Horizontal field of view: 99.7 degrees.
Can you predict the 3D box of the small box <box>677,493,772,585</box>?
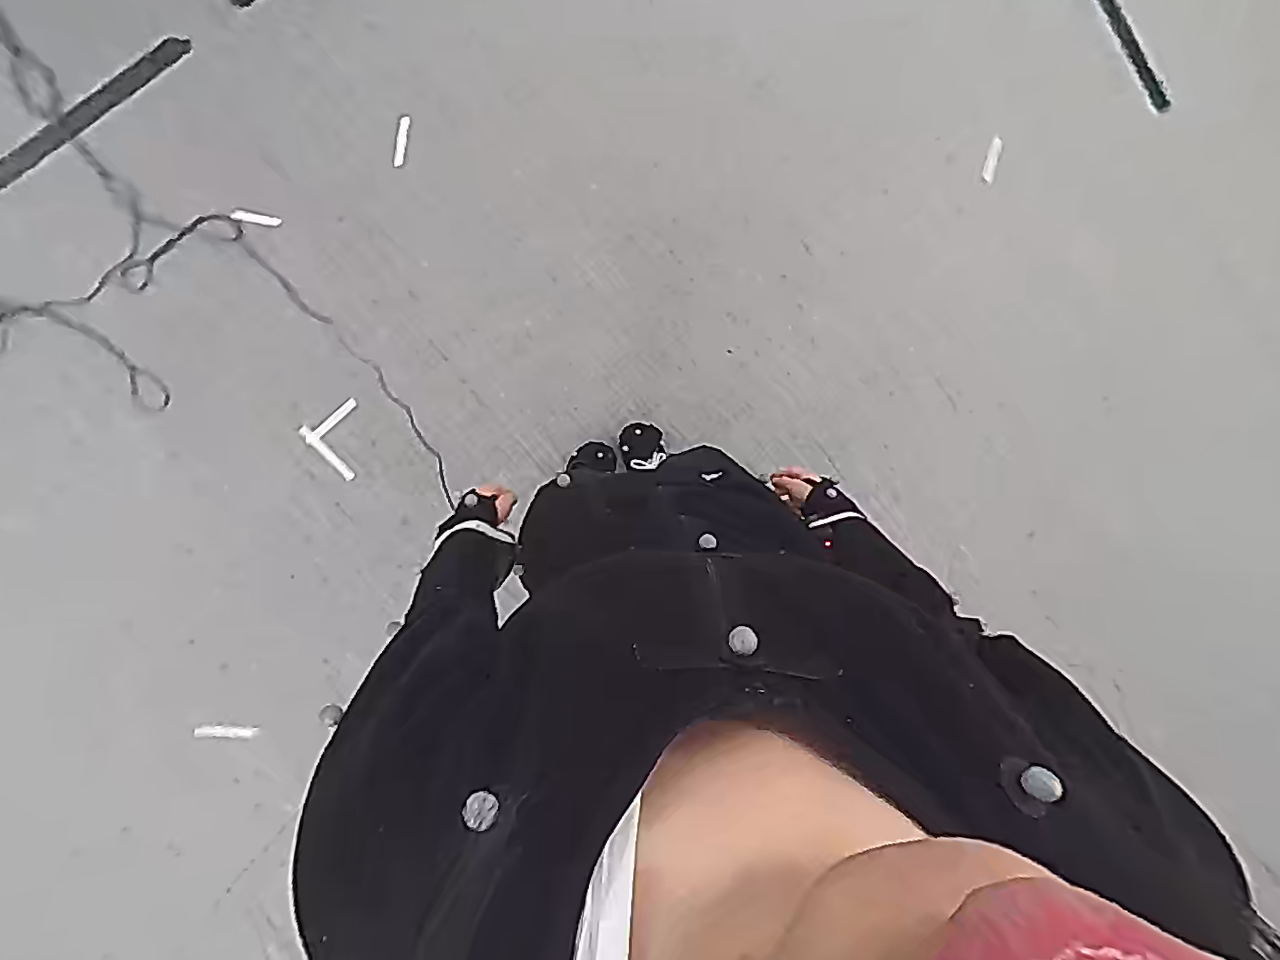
[{"bbox_3d":[0.219,0.149,1.459,0.168,0.176,0.179,-38,98,-1],"label":"small box"}]
